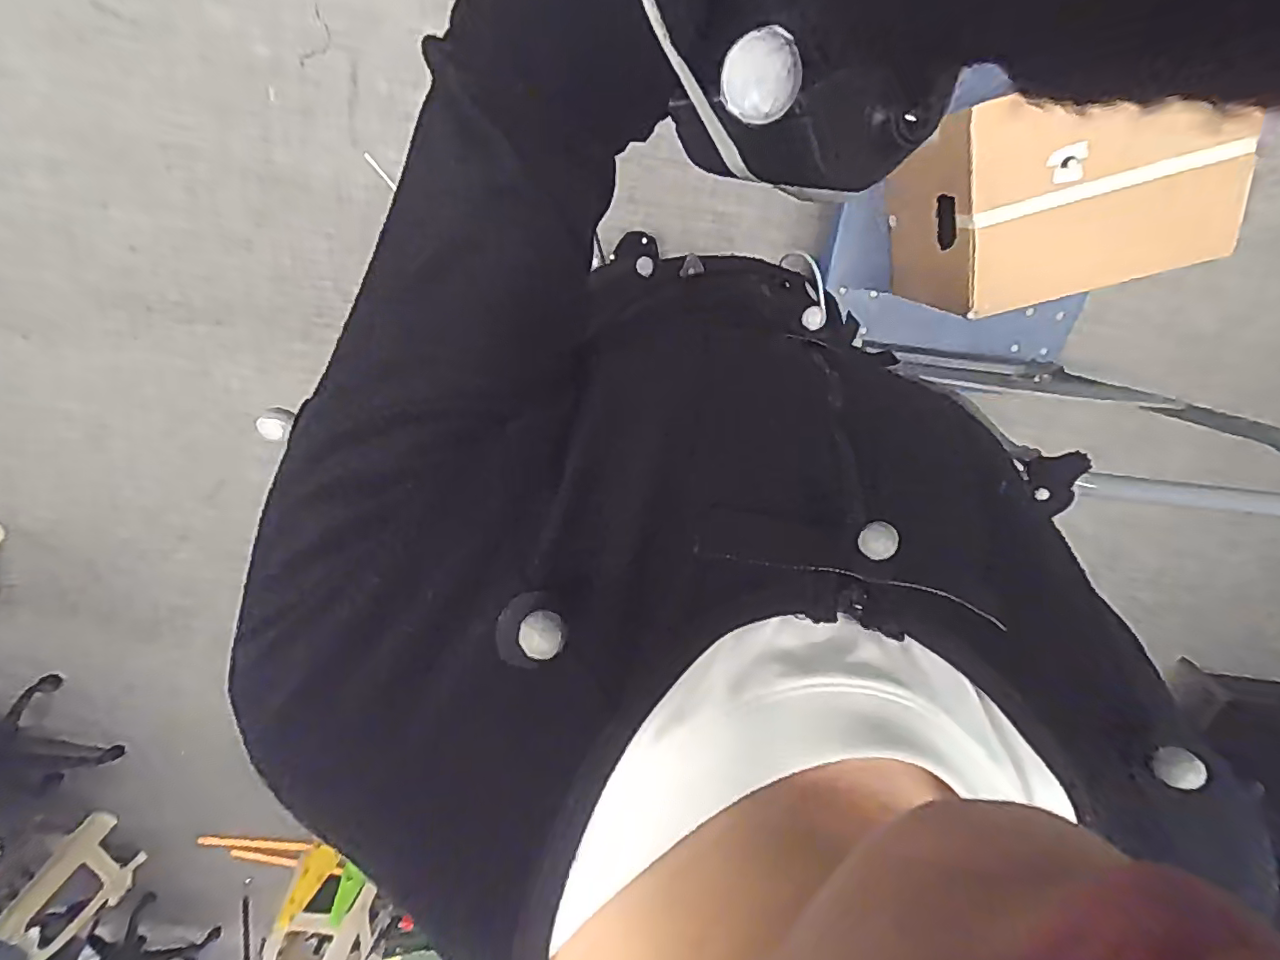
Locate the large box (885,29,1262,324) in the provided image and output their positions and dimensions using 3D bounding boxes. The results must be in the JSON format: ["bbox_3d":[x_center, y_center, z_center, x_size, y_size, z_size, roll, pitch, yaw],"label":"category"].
[{"bbox_3d":[0.701,-0.508,0.959,0.408,0.320,0.320,-12,115,8],"label":"large box"}]
